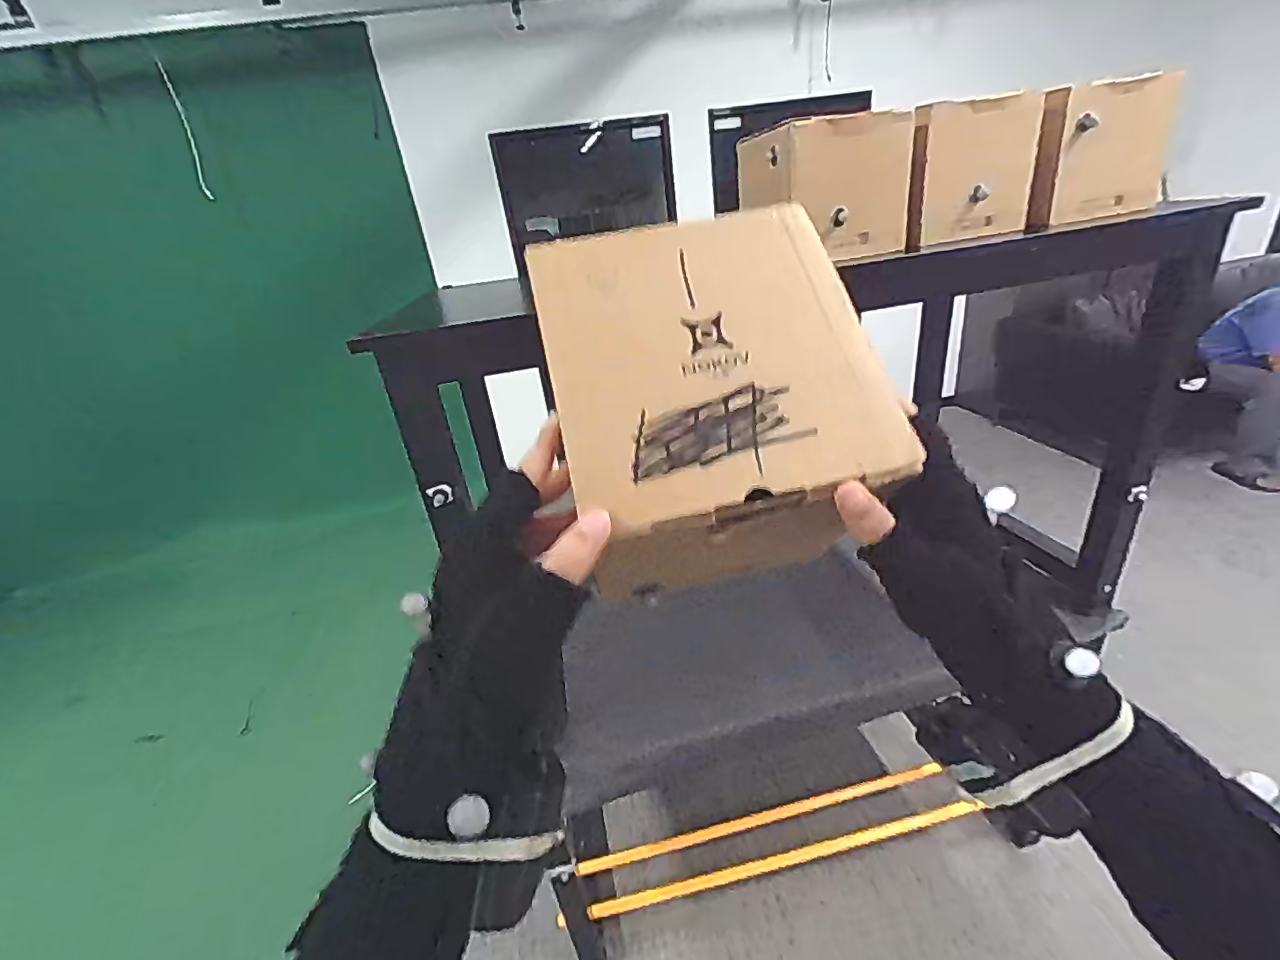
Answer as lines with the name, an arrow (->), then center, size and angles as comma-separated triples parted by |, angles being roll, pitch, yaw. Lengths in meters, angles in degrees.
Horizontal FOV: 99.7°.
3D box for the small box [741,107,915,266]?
small box -> 0.248, -0.398, 0.754 | 0.168, 0.176, 0.179 | -11, 26, -8
